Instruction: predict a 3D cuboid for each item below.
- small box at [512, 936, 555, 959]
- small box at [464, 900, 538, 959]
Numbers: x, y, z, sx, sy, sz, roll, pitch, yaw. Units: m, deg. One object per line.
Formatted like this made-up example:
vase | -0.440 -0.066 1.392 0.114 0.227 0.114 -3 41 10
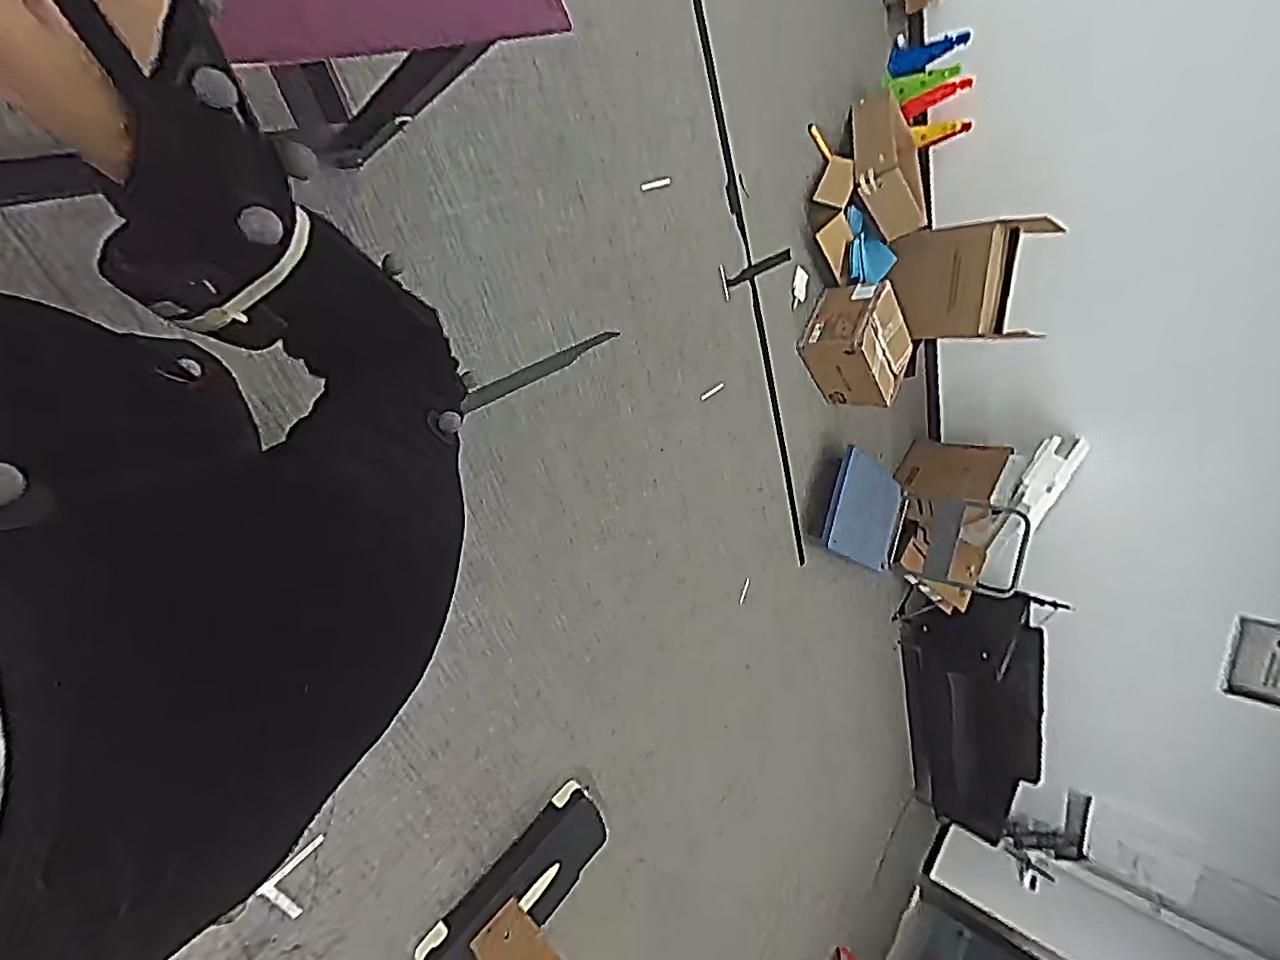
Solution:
small box | -0.308 1.485 1.550 0.179 0.176 0.168 -30 117 -39
small box | -0.415 1.457 1.670 0.168 0.176 0.179 -32 120 -37
